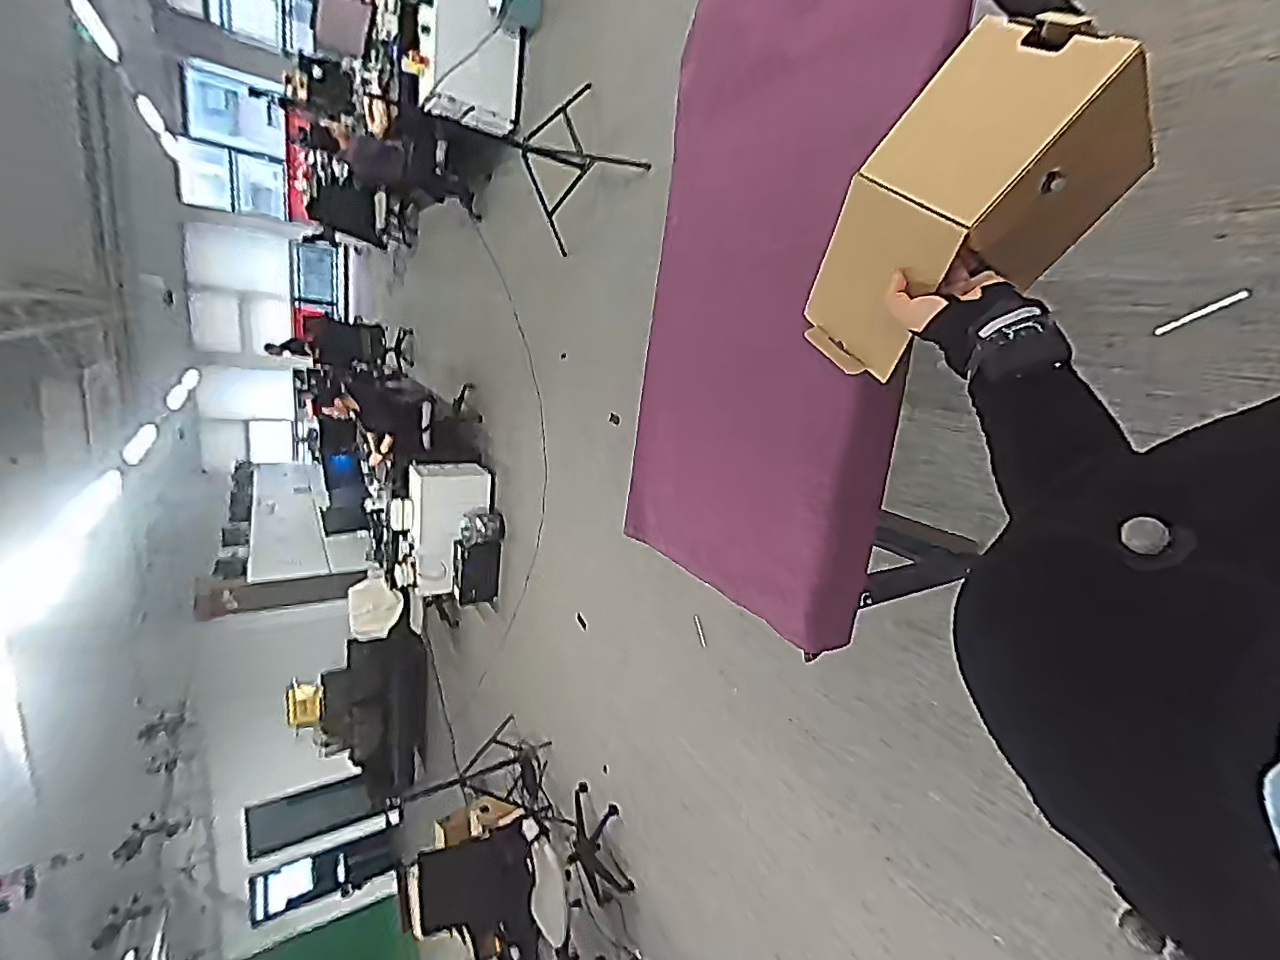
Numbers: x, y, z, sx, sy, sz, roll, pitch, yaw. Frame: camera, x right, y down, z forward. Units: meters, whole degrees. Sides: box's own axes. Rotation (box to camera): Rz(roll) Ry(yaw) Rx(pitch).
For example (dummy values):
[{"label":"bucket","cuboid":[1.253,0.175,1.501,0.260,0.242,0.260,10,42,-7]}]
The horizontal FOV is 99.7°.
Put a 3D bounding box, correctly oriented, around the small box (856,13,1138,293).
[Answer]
[{"label":"small box","cuboid":[0.379,-0.334,0.577,0.179,0.176,0.168,-50,48,23]}]
